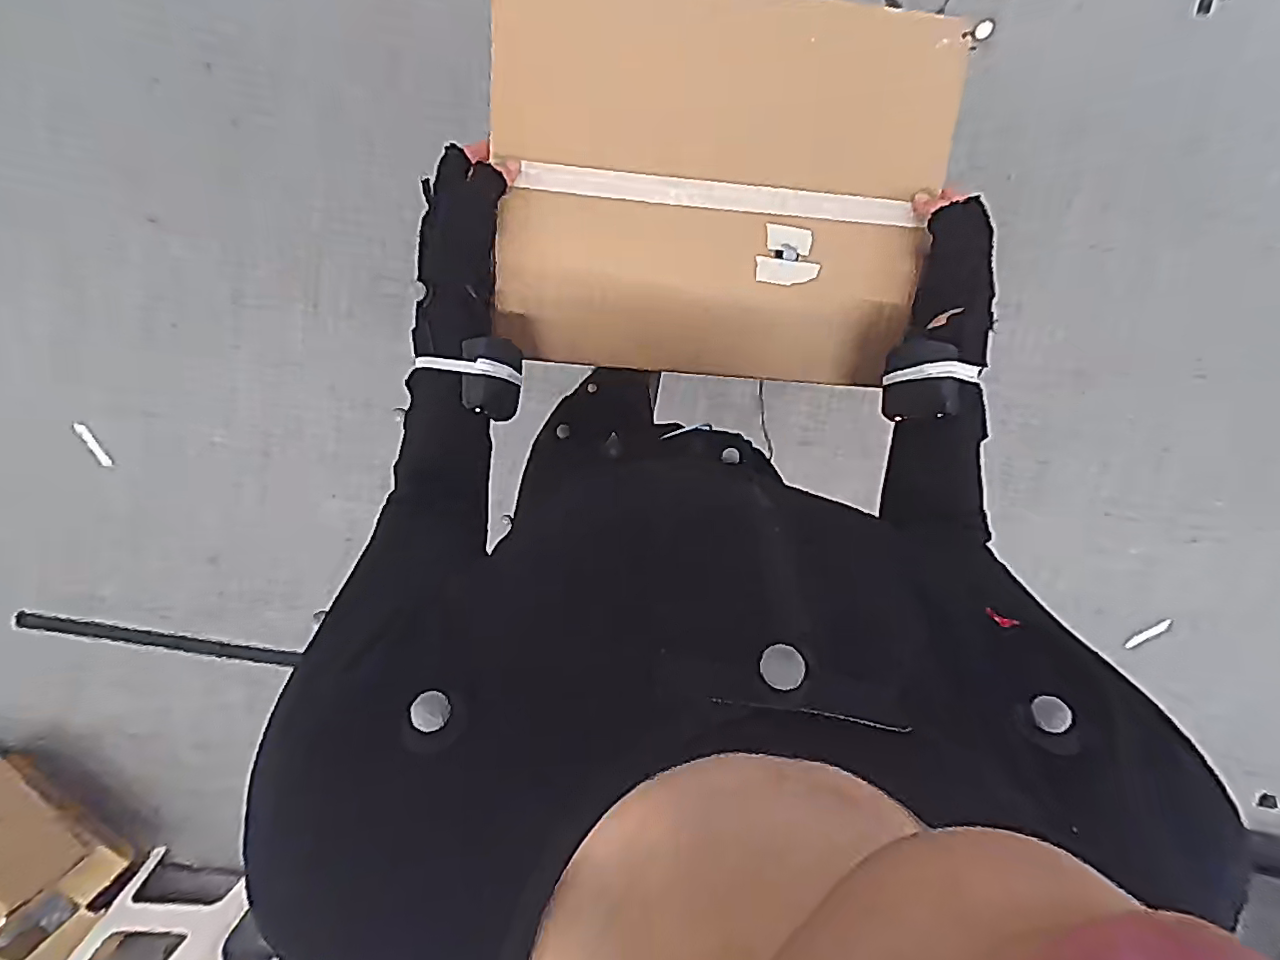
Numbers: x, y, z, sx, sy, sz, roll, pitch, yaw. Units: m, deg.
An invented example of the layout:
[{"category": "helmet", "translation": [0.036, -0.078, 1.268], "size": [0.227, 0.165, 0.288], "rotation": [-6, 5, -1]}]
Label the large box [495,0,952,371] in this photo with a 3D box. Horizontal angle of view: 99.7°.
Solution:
[{"category": "large box", "translation": [0.056, -0.306, 0.638], "size": [0.408, 0.320, 0.320], "rotation": [3, 107, -6]}]
